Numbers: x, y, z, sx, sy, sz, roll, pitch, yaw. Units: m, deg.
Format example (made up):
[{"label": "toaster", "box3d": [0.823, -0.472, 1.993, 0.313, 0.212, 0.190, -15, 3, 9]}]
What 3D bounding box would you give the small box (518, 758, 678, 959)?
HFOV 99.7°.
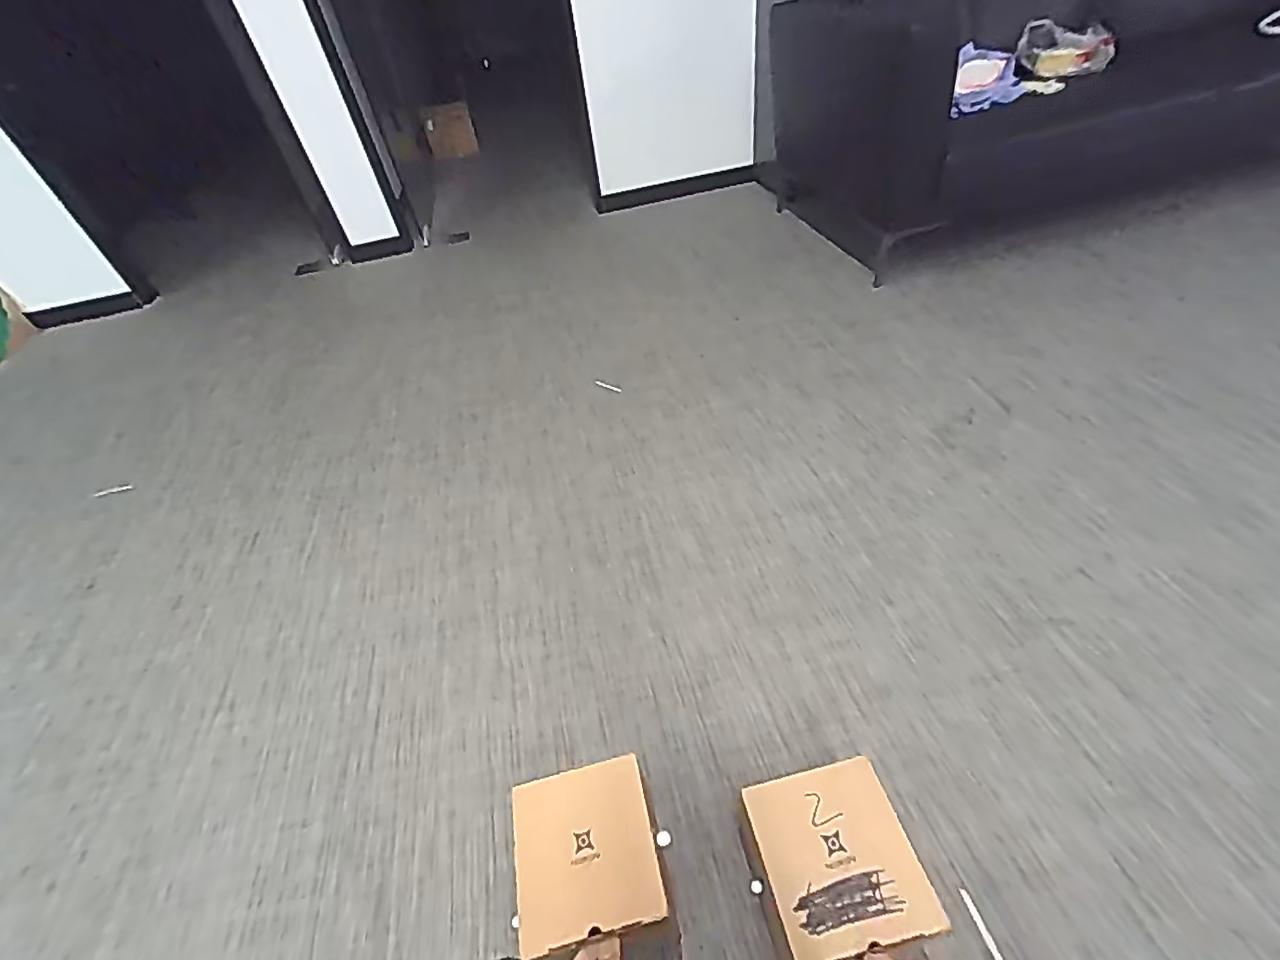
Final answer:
[{"label": "small box", "box3d": [-0.054, 0.497, 0.698, 0.168, 0.176, 0.179, -14, 44, -4]}]
